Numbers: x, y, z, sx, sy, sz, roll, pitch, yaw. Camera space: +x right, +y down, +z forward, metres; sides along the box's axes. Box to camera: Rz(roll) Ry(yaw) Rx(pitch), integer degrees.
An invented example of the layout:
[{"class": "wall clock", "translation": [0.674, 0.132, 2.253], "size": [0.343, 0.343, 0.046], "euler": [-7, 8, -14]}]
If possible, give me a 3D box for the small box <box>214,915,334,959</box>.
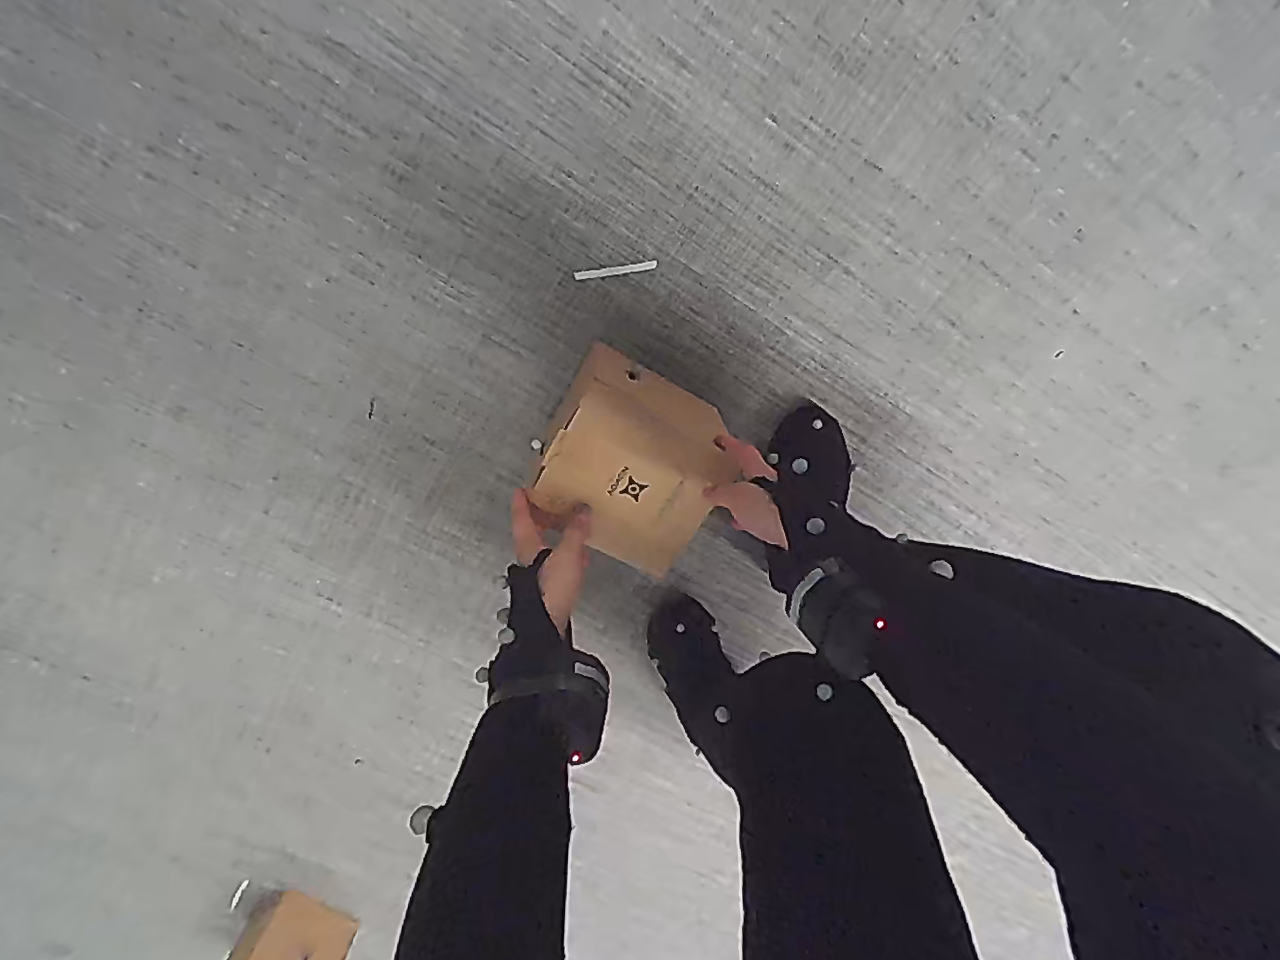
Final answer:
[{"class": "small box", "translation": [-0.726, 0.974, 1.020], "size": [0.168, 0.176, 0.179], "euler": [-43, 106, 14]}]
